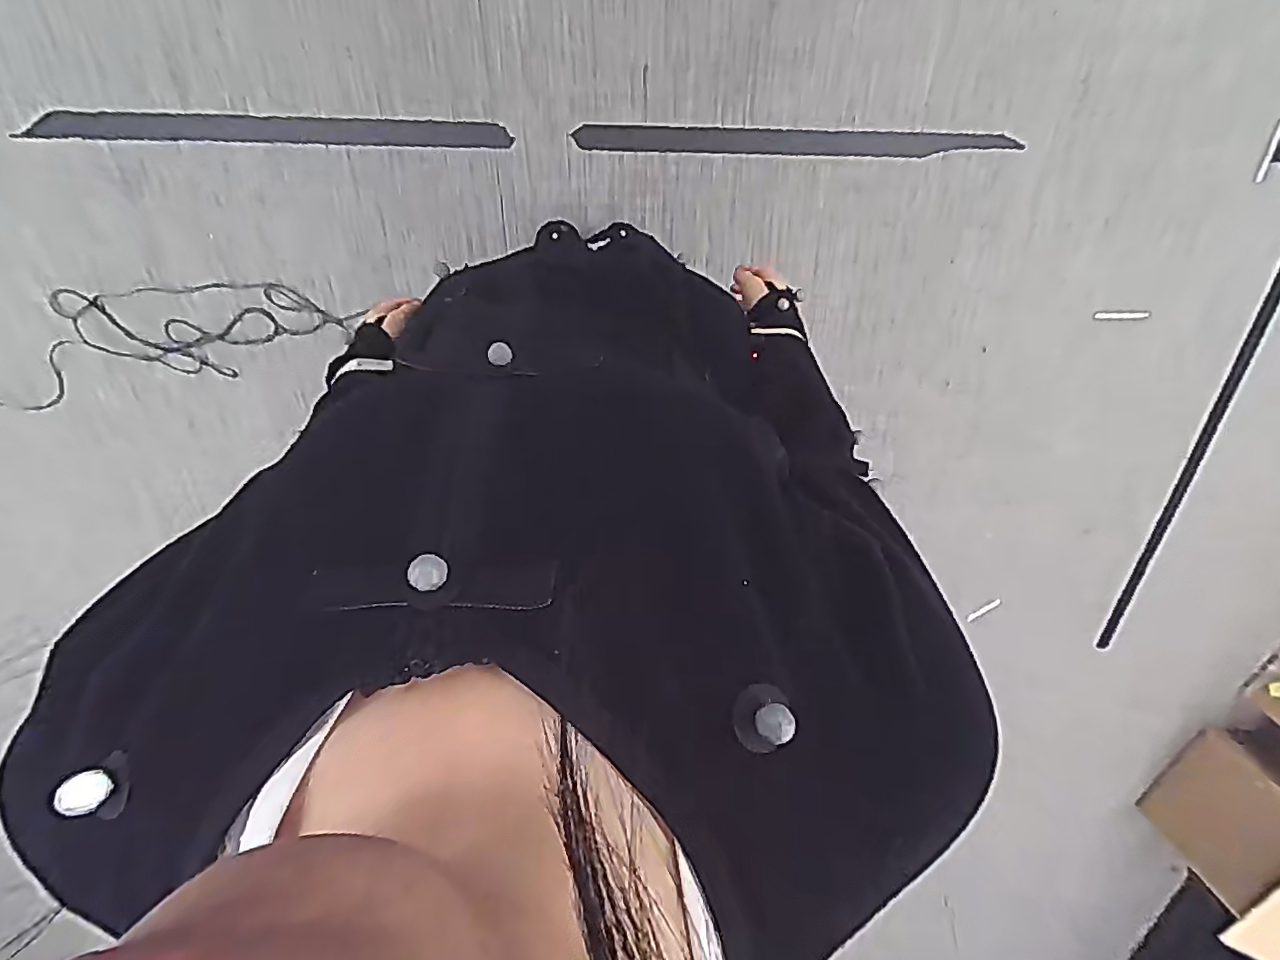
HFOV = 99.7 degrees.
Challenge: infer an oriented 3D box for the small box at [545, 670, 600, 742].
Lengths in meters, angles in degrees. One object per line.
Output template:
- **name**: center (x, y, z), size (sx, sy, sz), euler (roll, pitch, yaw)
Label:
- **small box**: center (-0.233, 0.778, 1.875), size (0.179, 0.176, 0.168), euler (3, 116, -7)
